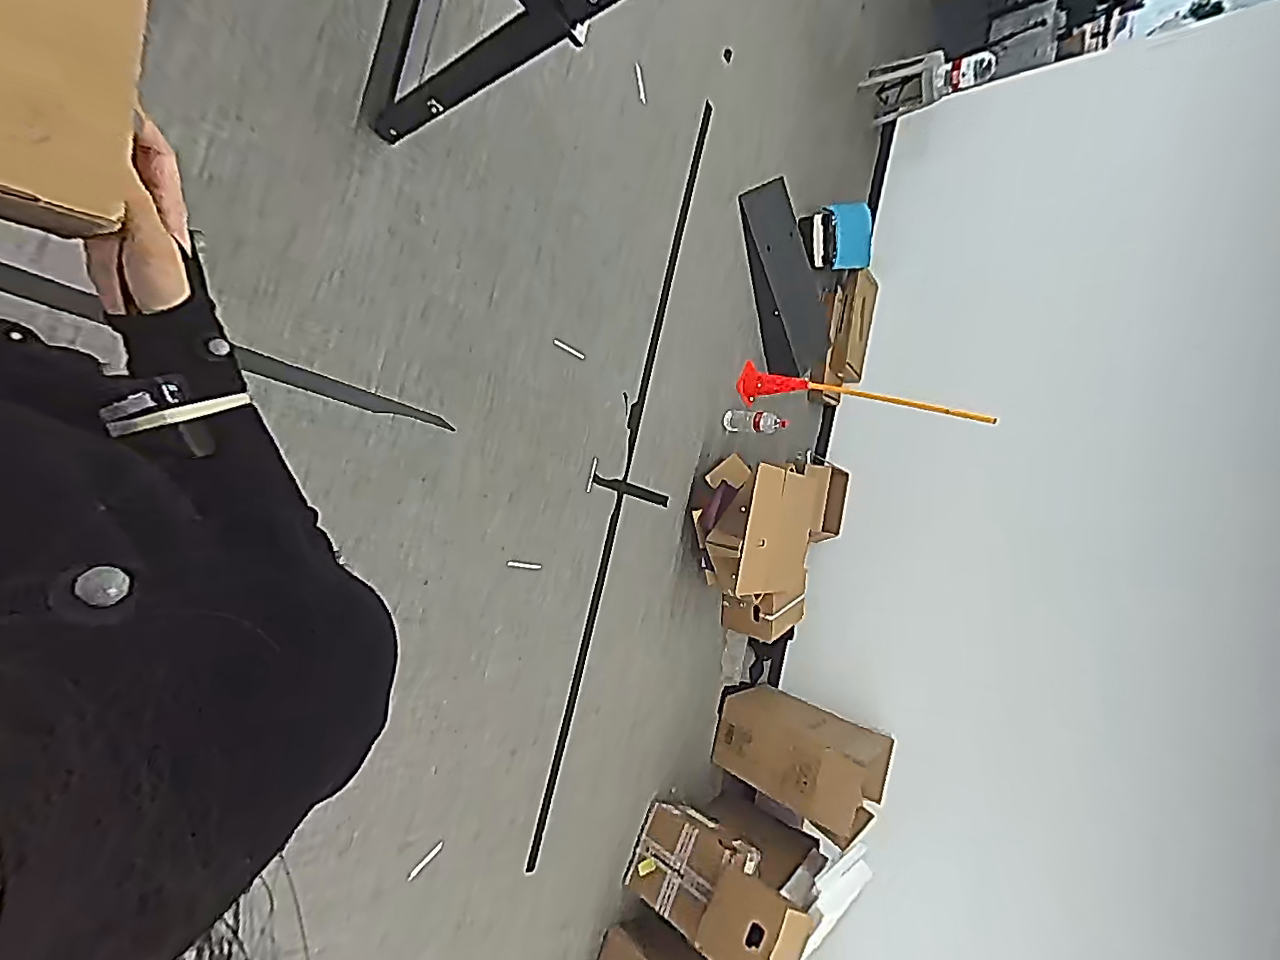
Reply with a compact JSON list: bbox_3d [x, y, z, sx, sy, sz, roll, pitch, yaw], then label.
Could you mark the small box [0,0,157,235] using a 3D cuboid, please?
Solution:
[{"bbox_3d":[-0.367,-0.239,0.265,0.168,0.176,0.179,4,101,-54],"label":"small box"}]
